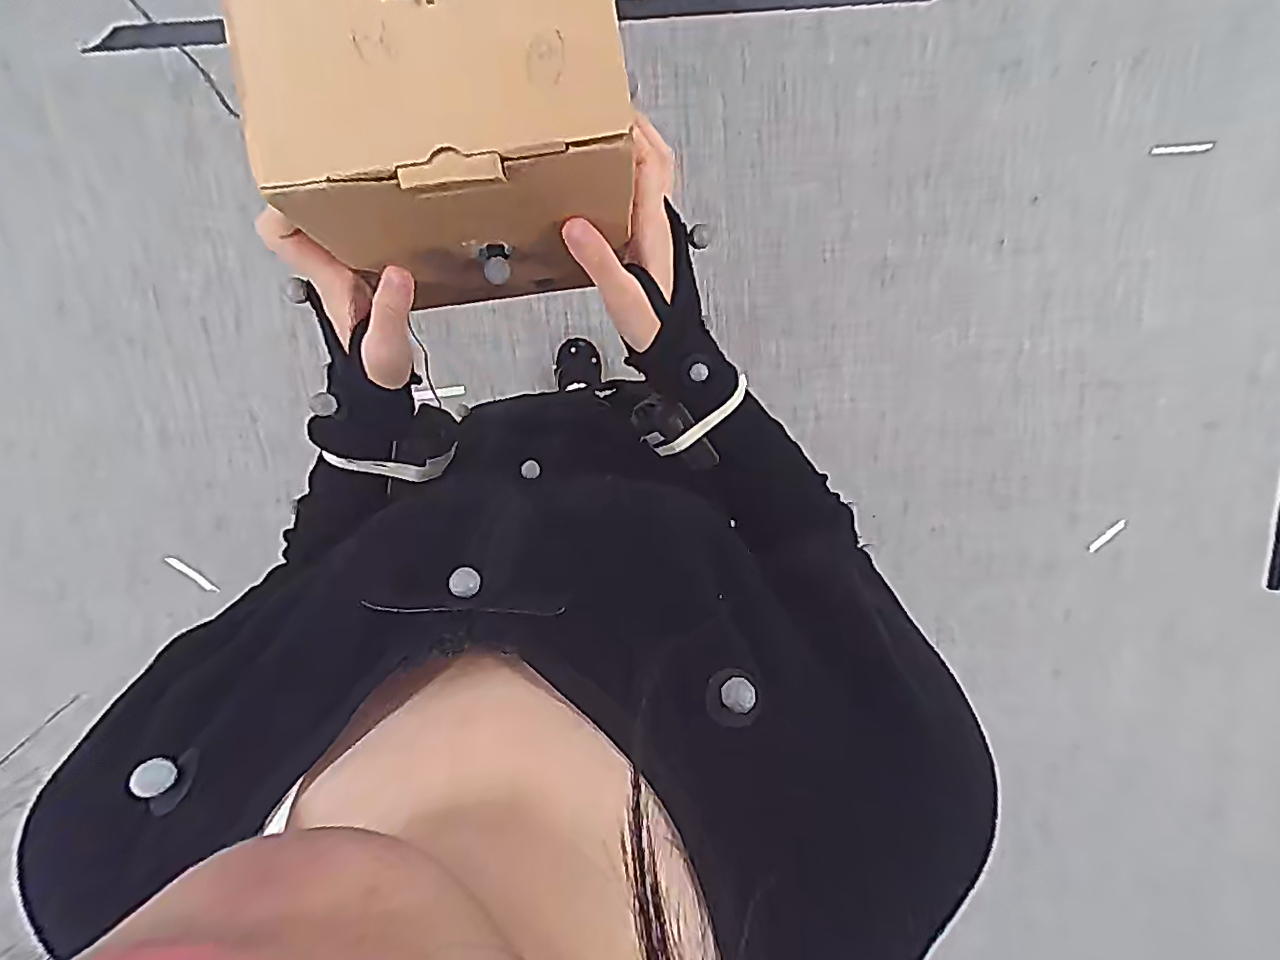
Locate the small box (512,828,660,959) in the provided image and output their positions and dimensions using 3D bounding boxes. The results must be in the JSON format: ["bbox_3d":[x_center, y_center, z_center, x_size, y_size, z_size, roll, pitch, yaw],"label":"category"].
[{"bbox_3d":[-0.064,0.602,0.723,0.179,0.176,0.168,-1,100,-2],"label":"small box"}]

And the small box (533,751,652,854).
[{"bbox_3d":[-0.070,0.570,0.882,0.179,0.176,0.168,-2,101,-2],"label":"small box"}]

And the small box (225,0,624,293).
[{"bbox_3d":[-0.100,-0.222,0.315,0.168,0.176,0.179,-8,91,-2],"label":"small box"}]

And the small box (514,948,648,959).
[{"bbox_3d":[-0.062,0.634,0.562,0.168,0.176,0.179,-1,101,-1],"label":"small box"}]
